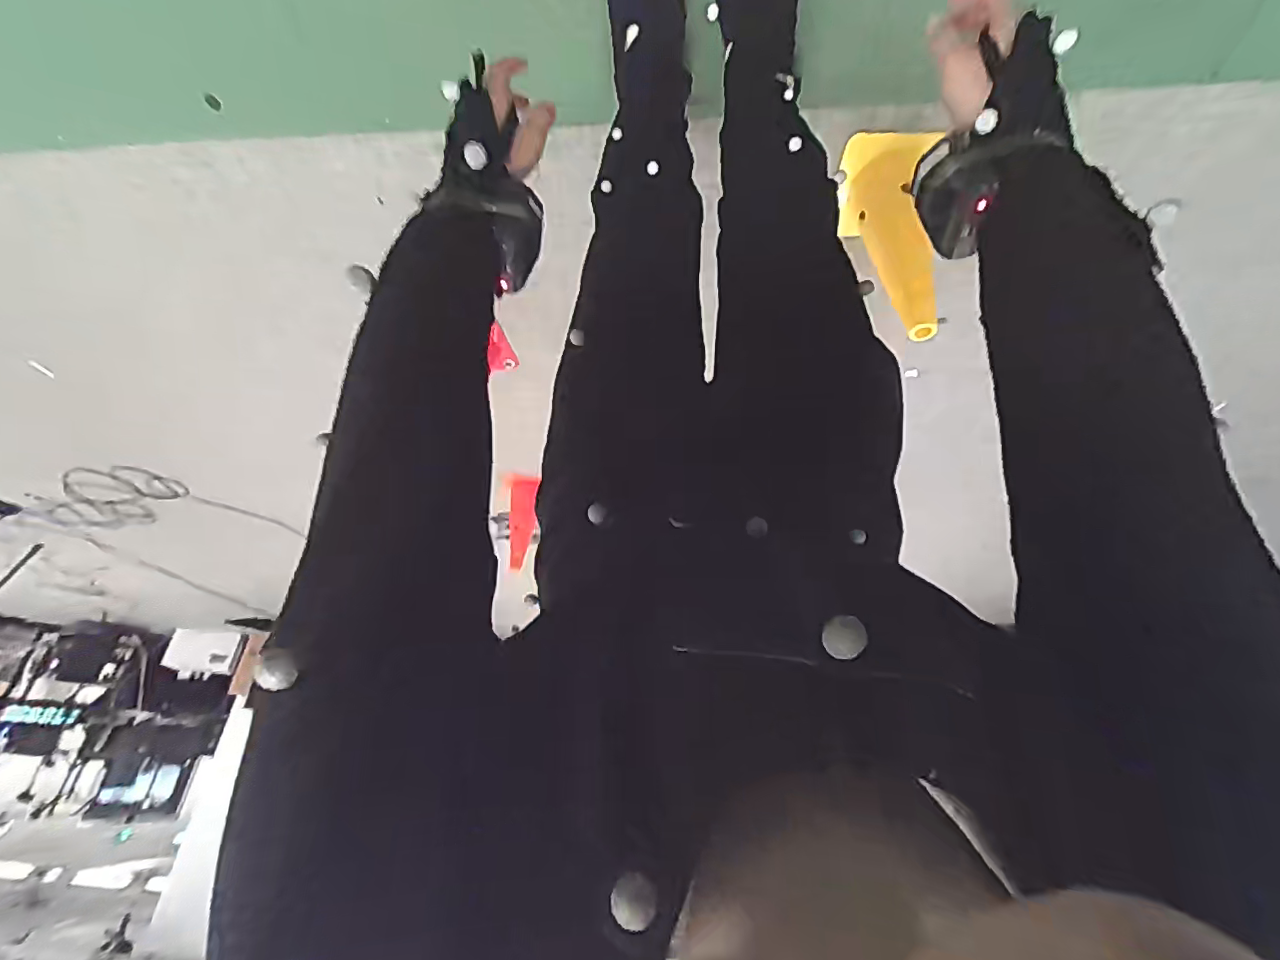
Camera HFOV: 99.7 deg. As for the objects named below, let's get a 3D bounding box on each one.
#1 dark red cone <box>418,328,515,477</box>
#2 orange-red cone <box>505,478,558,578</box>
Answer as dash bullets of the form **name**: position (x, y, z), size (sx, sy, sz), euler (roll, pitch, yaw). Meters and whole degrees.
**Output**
- **dark red cone**: position (-0.460, -0.181, 1.331), size (0.202, 0.394, 0.201), euler (-3, 148, 13)
- **orange-red cone**: position (-0.449, 0.200, 2.075), size (0.199, 0.360, 0.198), euler (12, 150, -11)
